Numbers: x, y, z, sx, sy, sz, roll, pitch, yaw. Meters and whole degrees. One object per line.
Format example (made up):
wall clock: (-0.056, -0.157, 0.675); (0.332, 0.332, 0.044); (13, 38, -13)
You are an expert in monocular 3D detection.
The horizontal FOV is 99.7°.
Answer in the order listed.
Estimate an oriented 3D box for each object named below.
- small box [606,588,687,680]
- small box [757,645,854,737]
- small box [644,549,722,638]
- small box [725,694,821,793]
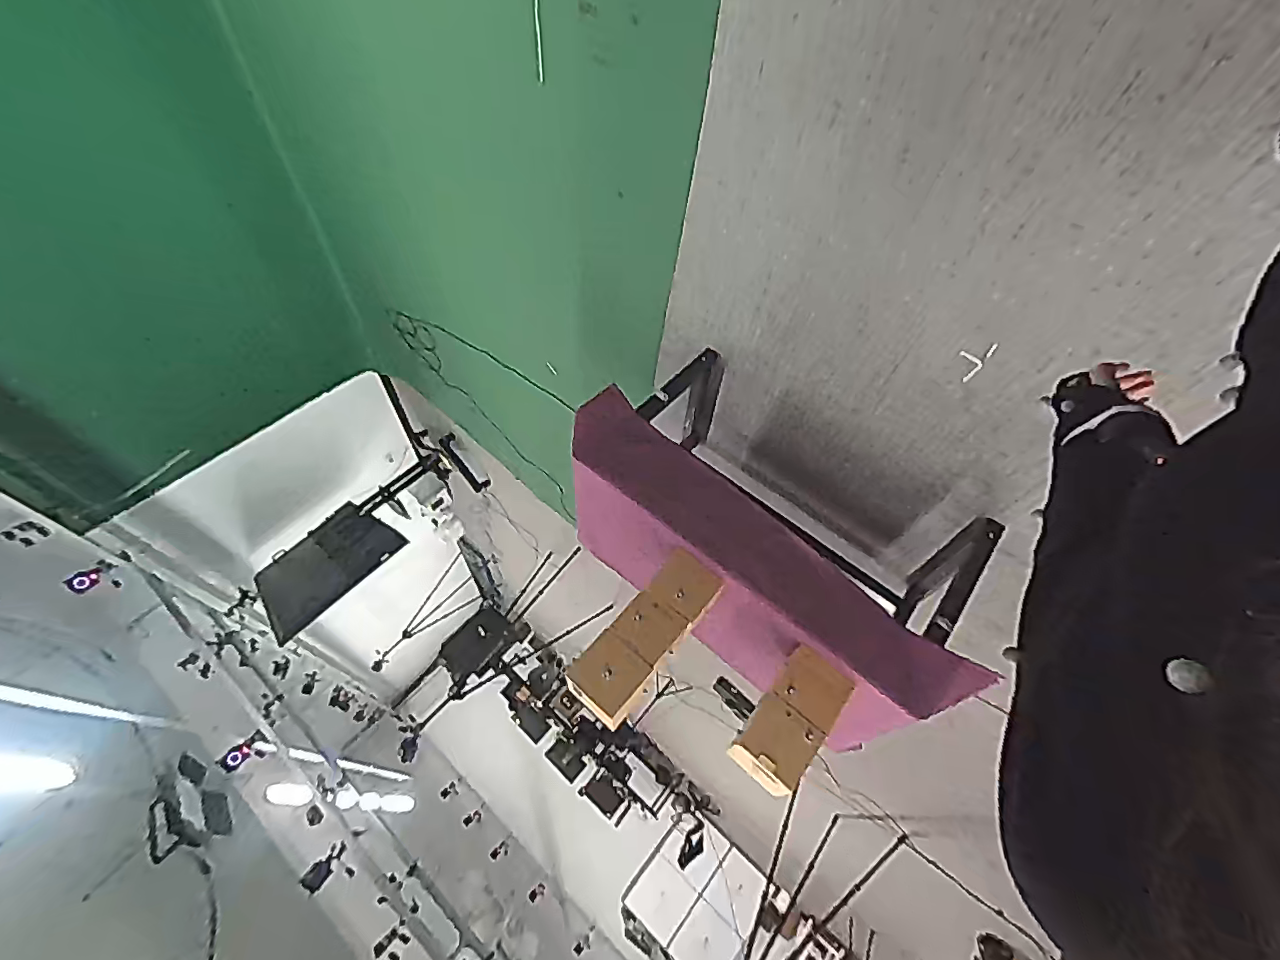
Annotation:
small box: (0.019, 0.444, 1.569); (0.168, 0.176, 0.179); (37, 152, 19)
small box: (0.461, 0.593, 1.505); (0.179, 0.176, 0.168); (38, 152, 19)
small box: (0.124, 0.340, 1.637); (0.179, 0.176, 0.168); (37, 151, 17)
small box: (0.353, 0.695, 1.434); (0.168, 0.176, 0.179); (37, 153, 19)
